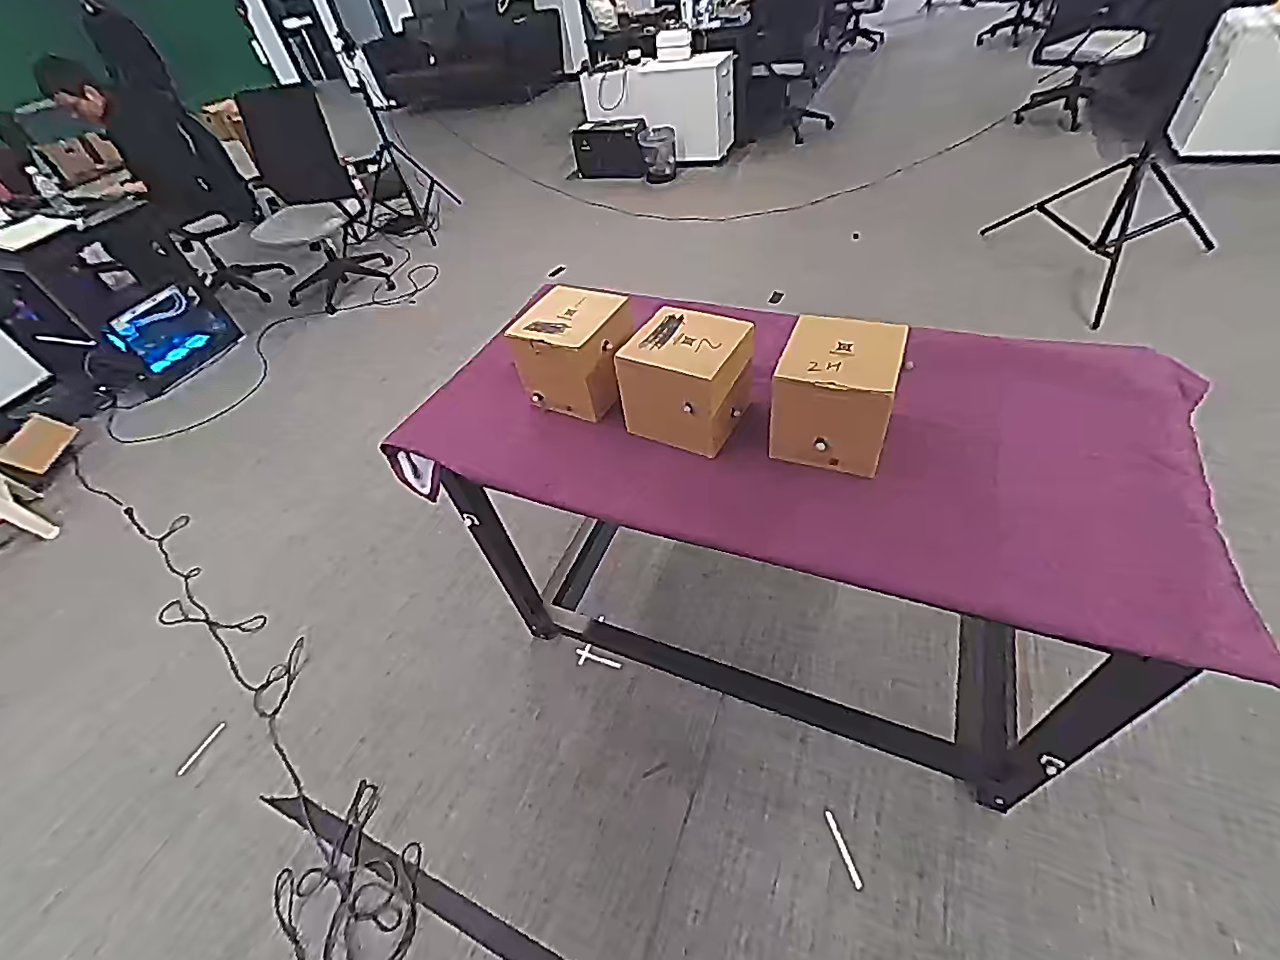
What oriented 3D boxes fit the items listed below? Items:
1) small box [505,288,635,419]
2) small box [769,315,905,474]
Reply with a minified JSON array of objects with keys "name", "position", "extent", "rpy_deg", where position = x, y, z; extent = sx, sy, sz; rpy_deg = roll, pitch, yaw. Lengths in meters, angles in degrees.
[{"name":"small box","position":[-0.123,-0.243,1.042],"extent":[0.168,0.176,0.179],"rpy_deg":[18,53,24]},{"name":"small box","position":[0.308,-0.138,0.865],"extent":[0.168,0.176,0.179],"rpy_deg":[13,51,22]}]
